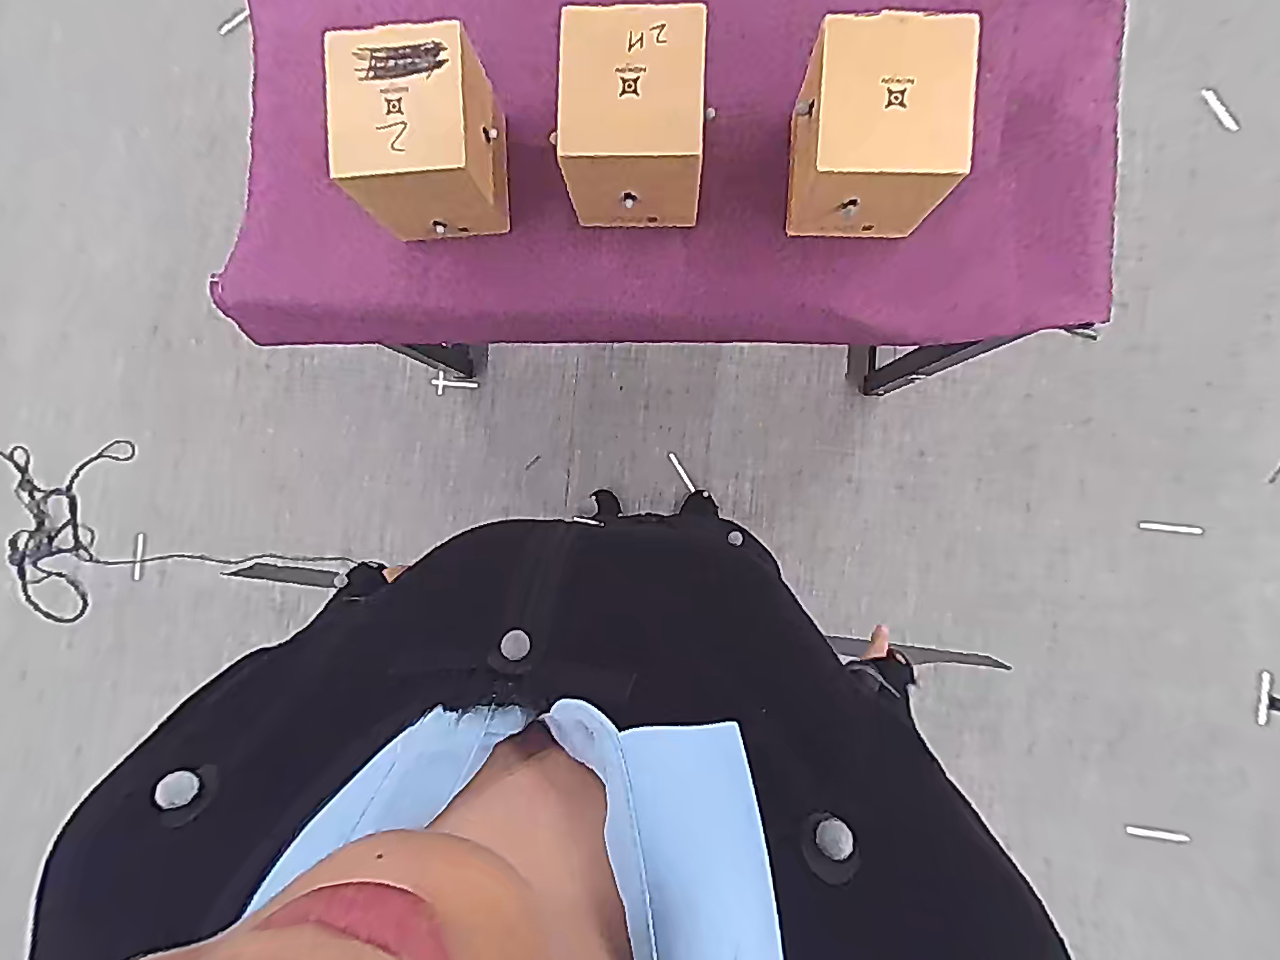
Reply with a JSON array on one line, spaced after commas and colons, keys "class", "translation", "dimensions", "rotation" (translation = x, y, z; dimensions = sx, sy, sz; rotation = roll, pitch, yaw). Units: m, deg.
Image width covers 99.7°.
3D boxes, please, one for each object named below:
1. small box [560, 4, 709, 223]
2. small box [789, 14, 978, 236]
[{"class": "small box", "translation": [-0.002, -0.450, 0.690], "dimensions": [0.168, 0.176, 0.179], "rotation": [2, 89, 2]}, {"class": "small box", "translation": [0.287, -0.424, 0.674], "dimensions": [0.168, 0.176, 0.179], "rotation": [3, 90, 4]}]
